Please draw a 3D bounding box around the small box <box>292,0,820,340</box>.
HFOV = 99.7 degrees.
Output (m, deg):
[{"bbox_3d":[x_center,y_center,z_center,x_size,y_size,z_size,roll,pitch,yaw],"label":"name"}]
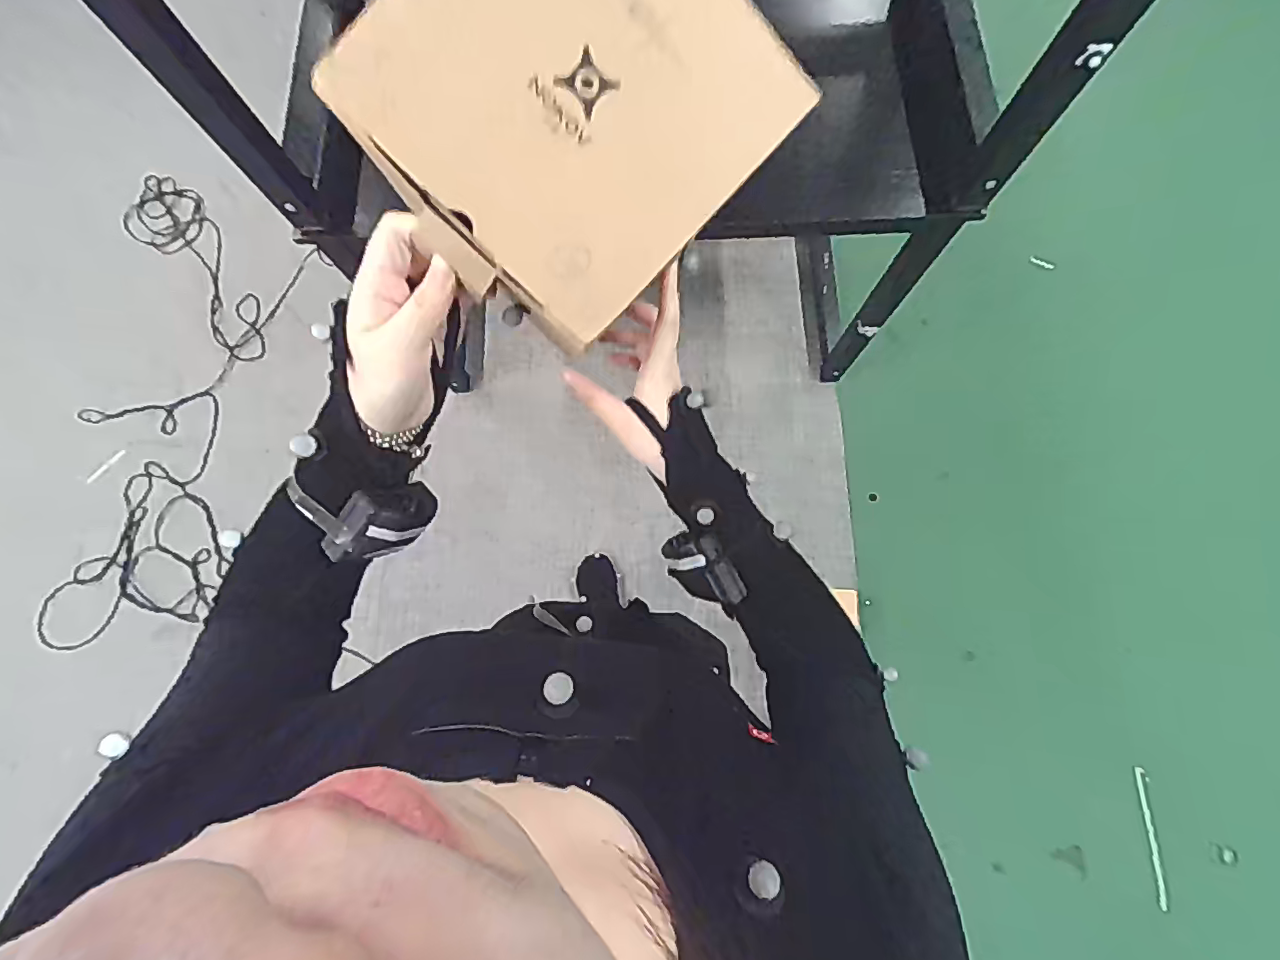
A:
[{"bbox_3d":[-0.041,-0.198,0.314,0.168,0.176,0.179,42,93,-17],"label":"small box"}]
